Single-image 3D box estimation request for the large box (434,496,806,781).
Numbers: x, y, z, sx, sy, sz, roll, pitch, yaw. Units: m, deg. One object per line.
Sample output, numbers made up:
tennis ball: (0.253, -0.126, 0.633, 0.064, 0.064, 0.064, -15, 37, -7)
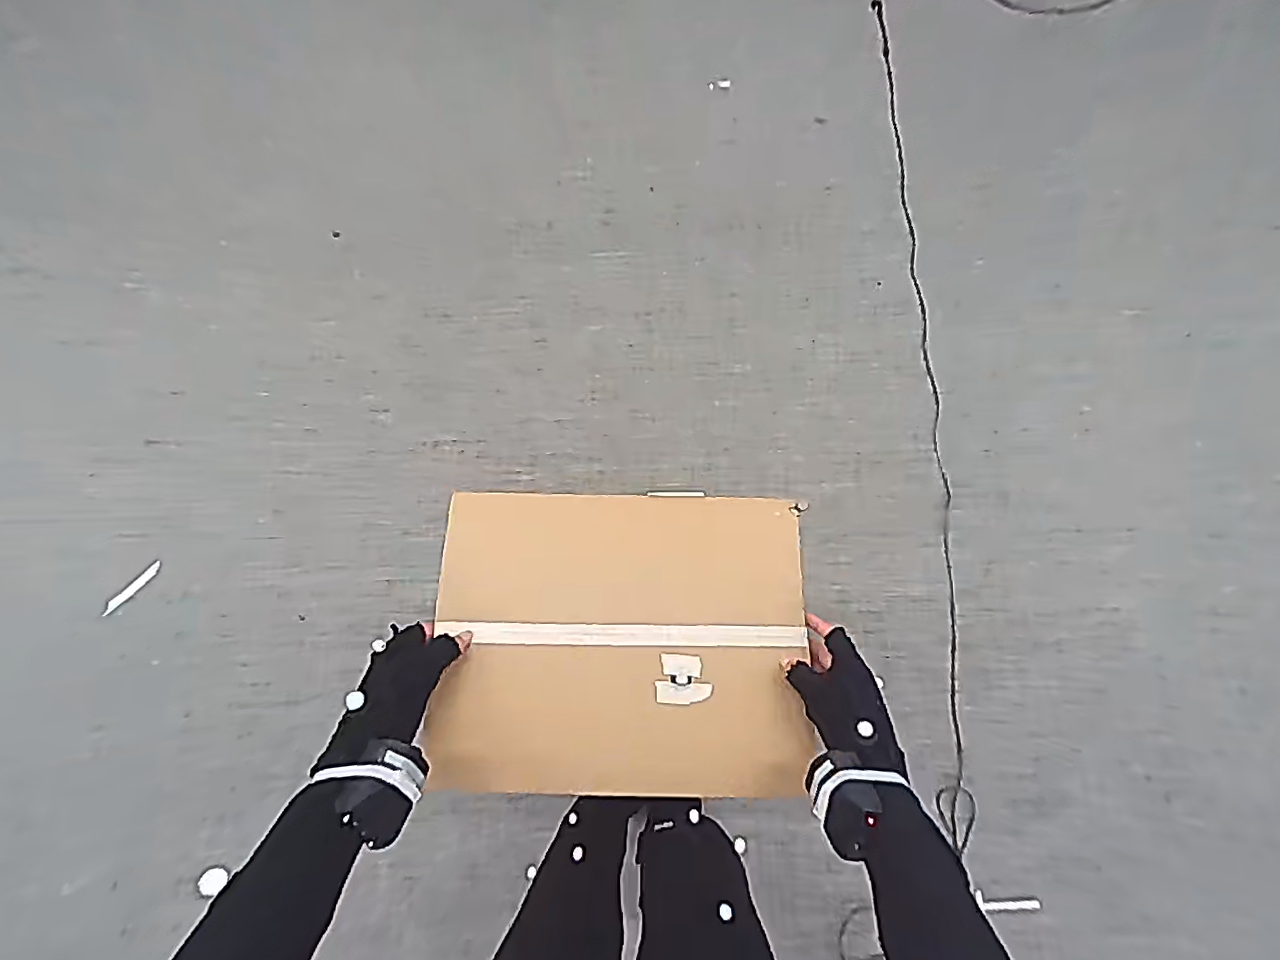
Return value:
large box: (-0.024, 0.214, 0.756, 0.408, 0.320, 0.320, 1, 73, -1)
